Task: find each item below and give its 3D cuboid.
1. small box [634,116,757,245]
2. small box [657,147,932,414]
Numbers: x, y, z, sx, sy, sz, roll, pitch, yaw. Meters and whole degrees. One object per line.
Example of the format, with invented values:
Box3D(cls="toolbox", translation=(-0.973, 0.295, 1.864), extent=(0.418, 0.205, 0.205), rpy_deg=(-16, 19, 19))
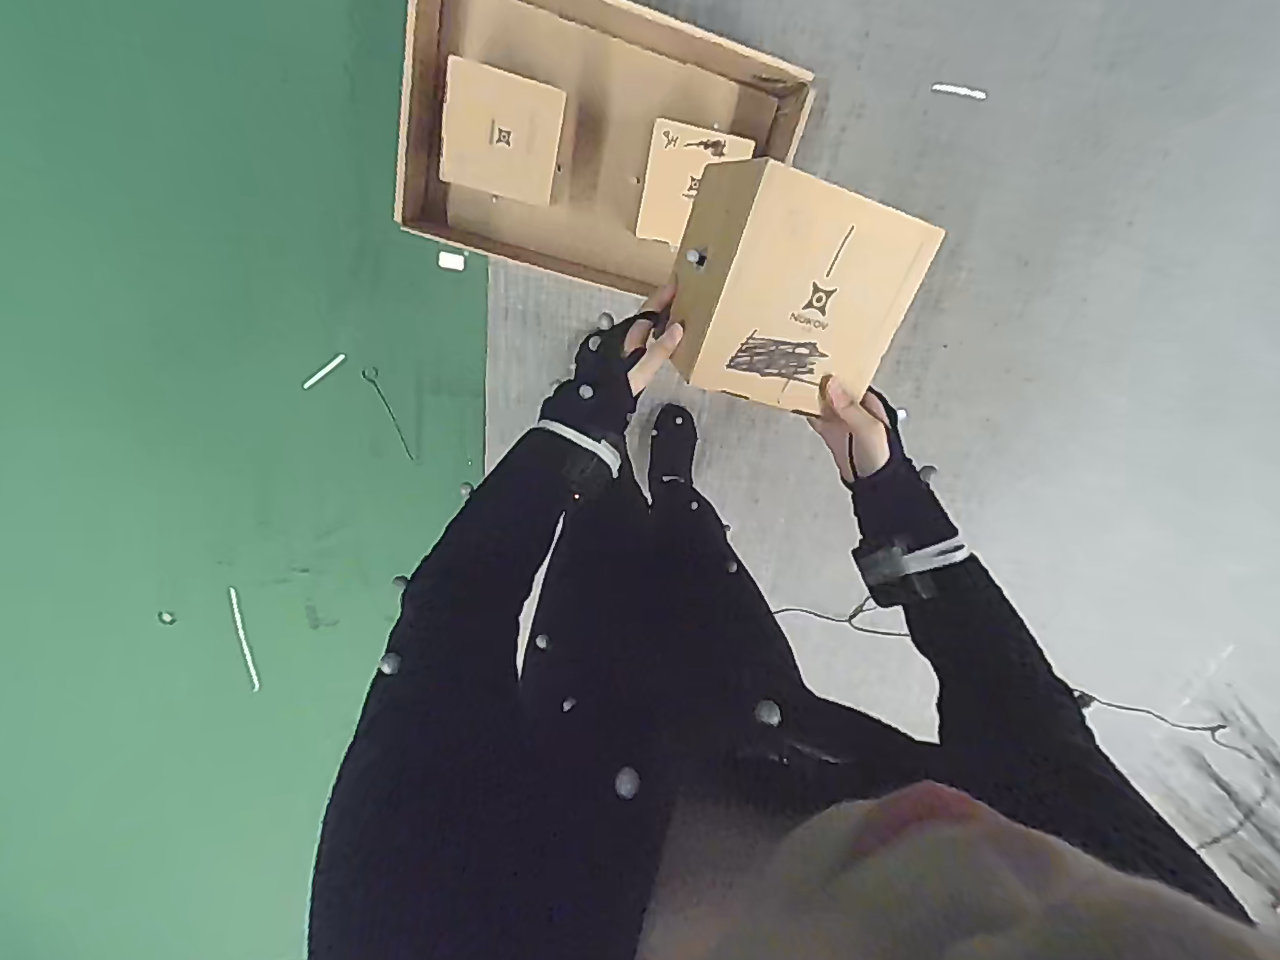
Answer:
Box3D(cls="small box", translation=(0.085, -0.512, 0.950), extent=(0.168, 0.176, 0.179), rpy_deg=(8, 118, -9))
Box3D(cls="small box", translation=(0.124, -0.189, 0.517), extent=(0.168, 0.176, 0.179), rpy_deg=(11, 115, -16))
